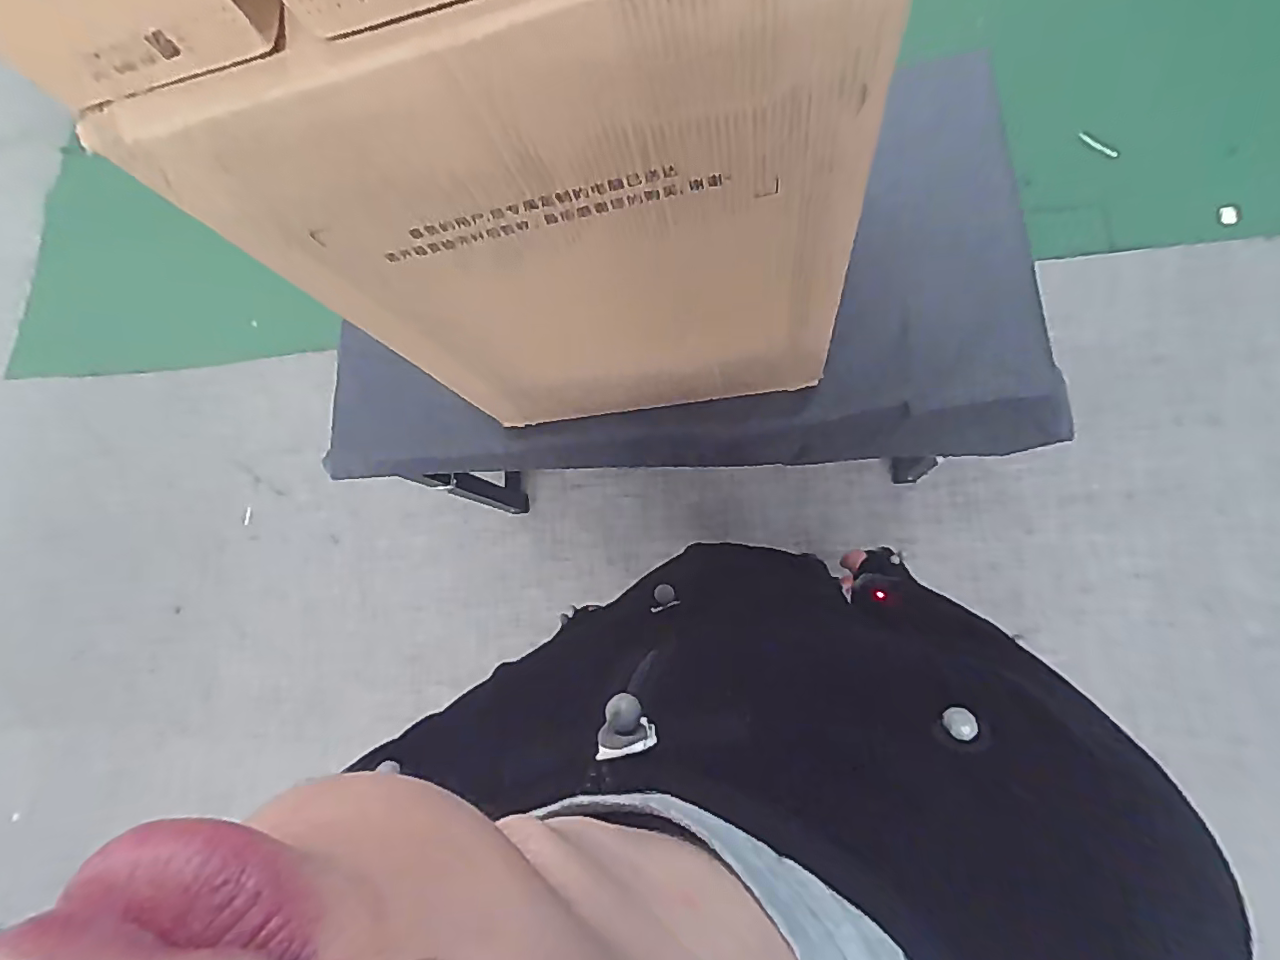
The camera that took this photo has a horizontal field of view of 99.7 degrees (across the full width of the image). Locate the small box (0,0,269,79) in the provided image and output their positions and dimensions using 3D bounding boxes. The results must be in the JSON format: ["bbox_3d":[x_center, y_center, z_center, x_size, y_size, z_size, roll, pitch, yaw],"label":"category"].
[{"bbox_3d":[-0.318,-0.352,0.279,0.168,0.176,0.179,-5,78,12],"label":"small box"}]
